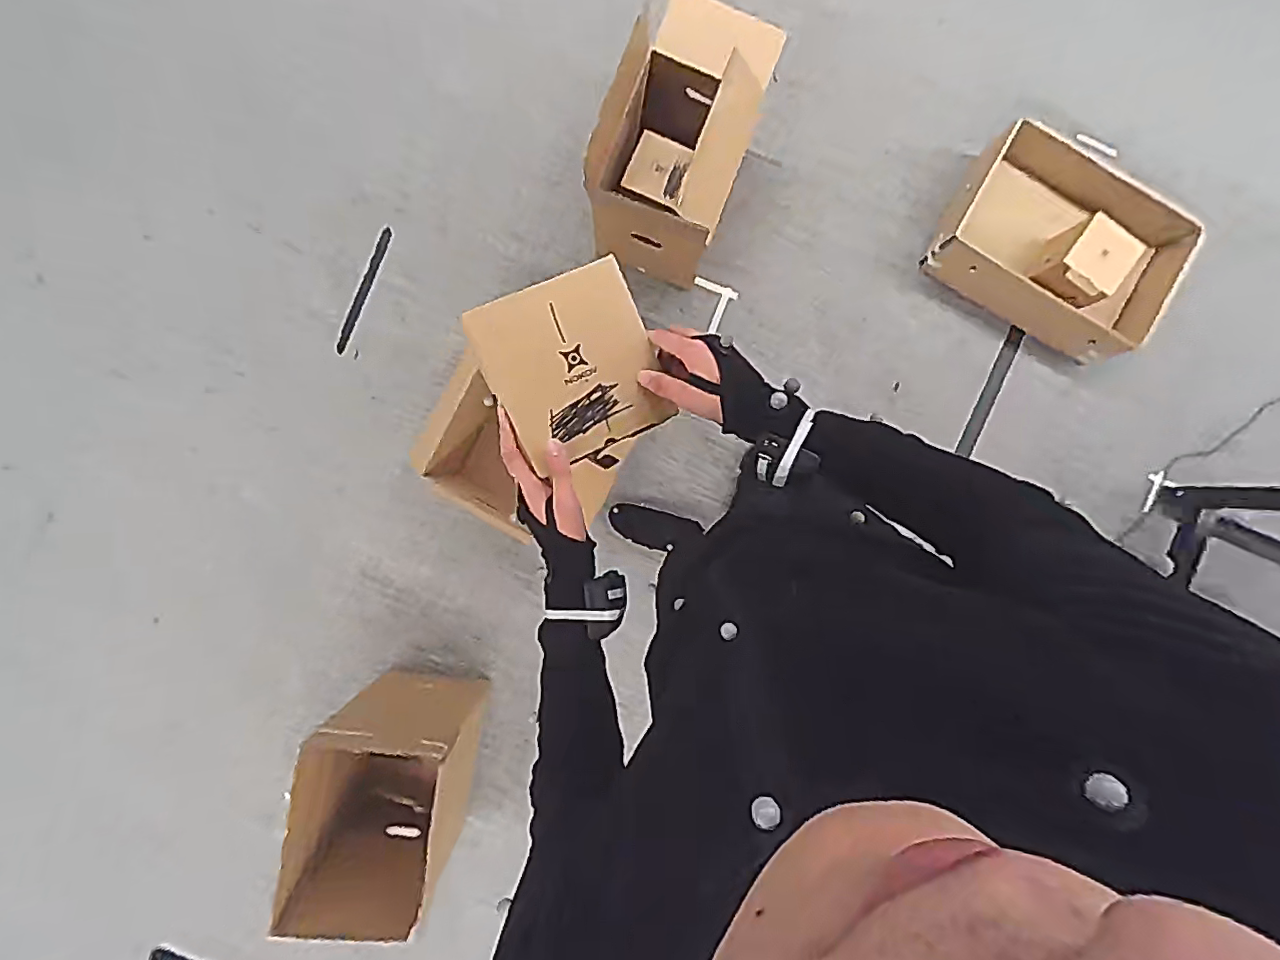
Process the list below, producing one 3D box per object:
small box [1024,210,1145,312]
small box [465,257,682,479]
[{"bbox_3d":[1.240,-0.606,1.526,0.168,0.176,0.179,37,89,-2],"label":"small box"},{"bbox_3d":[-0.079,-0.118,0.608,0.168,0.176,0.179,-26,100,-12],"label":"small box"}]
